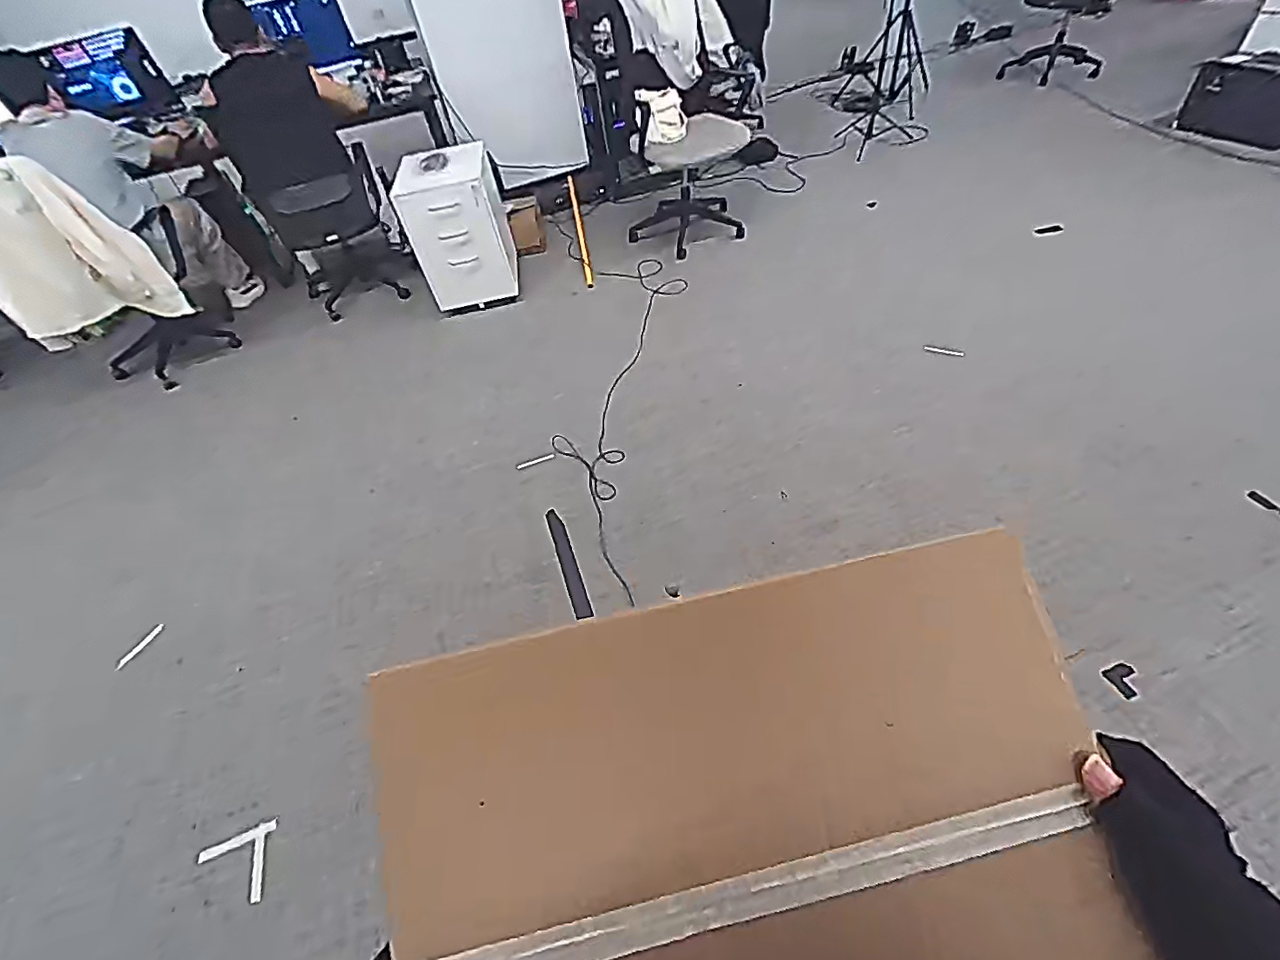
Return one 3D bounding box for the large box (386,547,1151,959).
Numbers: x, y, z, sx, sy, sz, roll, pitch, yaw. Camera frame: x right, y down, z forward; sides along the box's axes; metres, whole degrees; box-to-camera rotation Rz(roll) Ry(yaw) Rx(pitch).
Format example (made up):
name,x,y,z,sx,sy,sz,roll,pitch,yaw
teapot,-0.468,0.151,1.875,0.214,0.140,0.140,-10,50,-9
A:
name,x,y,z,sx,sy,sz,roll,pitch,yaw
large box,0.073,0.265,0.451,0.408,0.320,0.320,-13,77,-4
